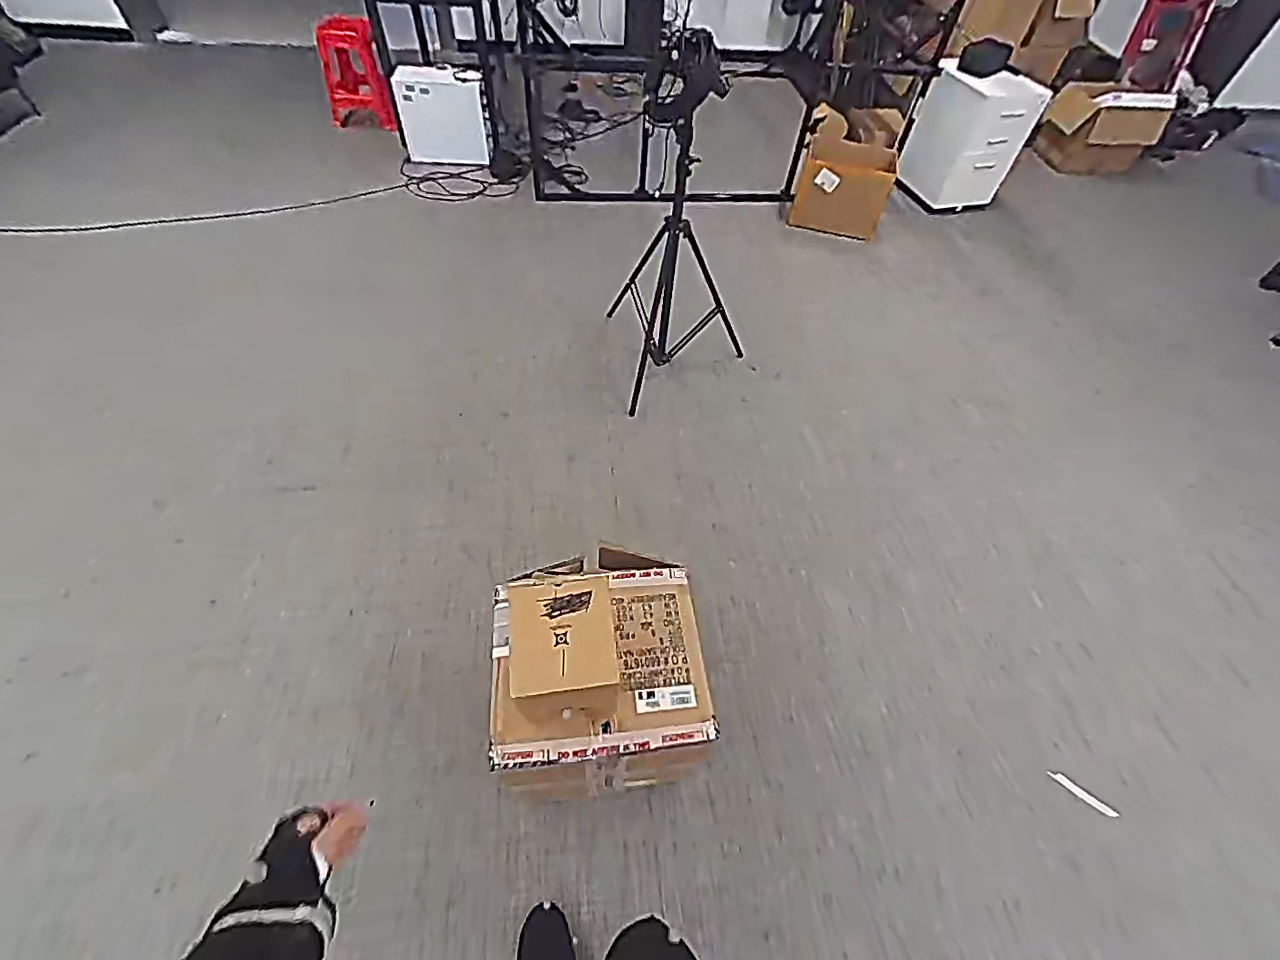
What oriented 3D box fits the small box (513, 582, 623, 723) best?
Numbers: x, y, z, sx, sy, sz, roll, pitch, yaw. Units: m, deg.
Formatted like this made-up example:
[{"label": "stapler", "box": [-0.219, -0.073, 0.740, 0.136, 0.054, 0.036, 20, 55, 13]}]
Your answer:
[{"label": "small box", "box": [-0.122, 0.293, 0.914, 0.168, 0.176, 0.179, -6, 57, -7]}]
